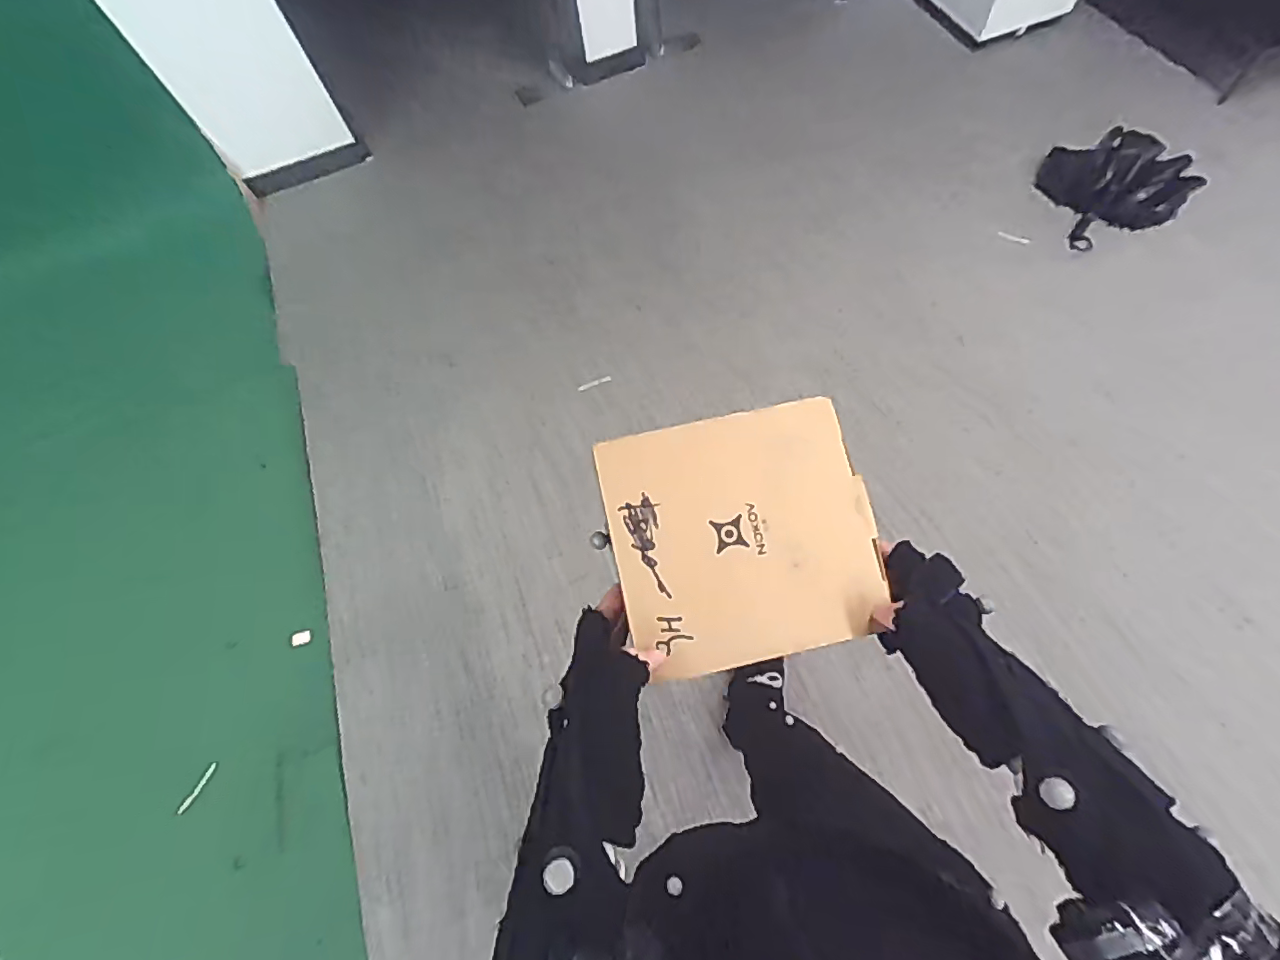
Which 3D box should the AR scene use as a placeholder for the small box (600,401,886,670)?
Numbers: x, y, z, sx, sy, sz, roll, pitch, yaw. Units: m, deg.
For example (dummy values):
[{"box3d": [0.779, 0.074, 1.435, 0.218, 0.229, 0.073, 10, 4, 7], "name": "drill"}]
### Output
[{"box3d": [0.066, 0.050, 0.454, 0.179, 0.176, 0.168, -11, 77, -5], "name": "small box"}]
